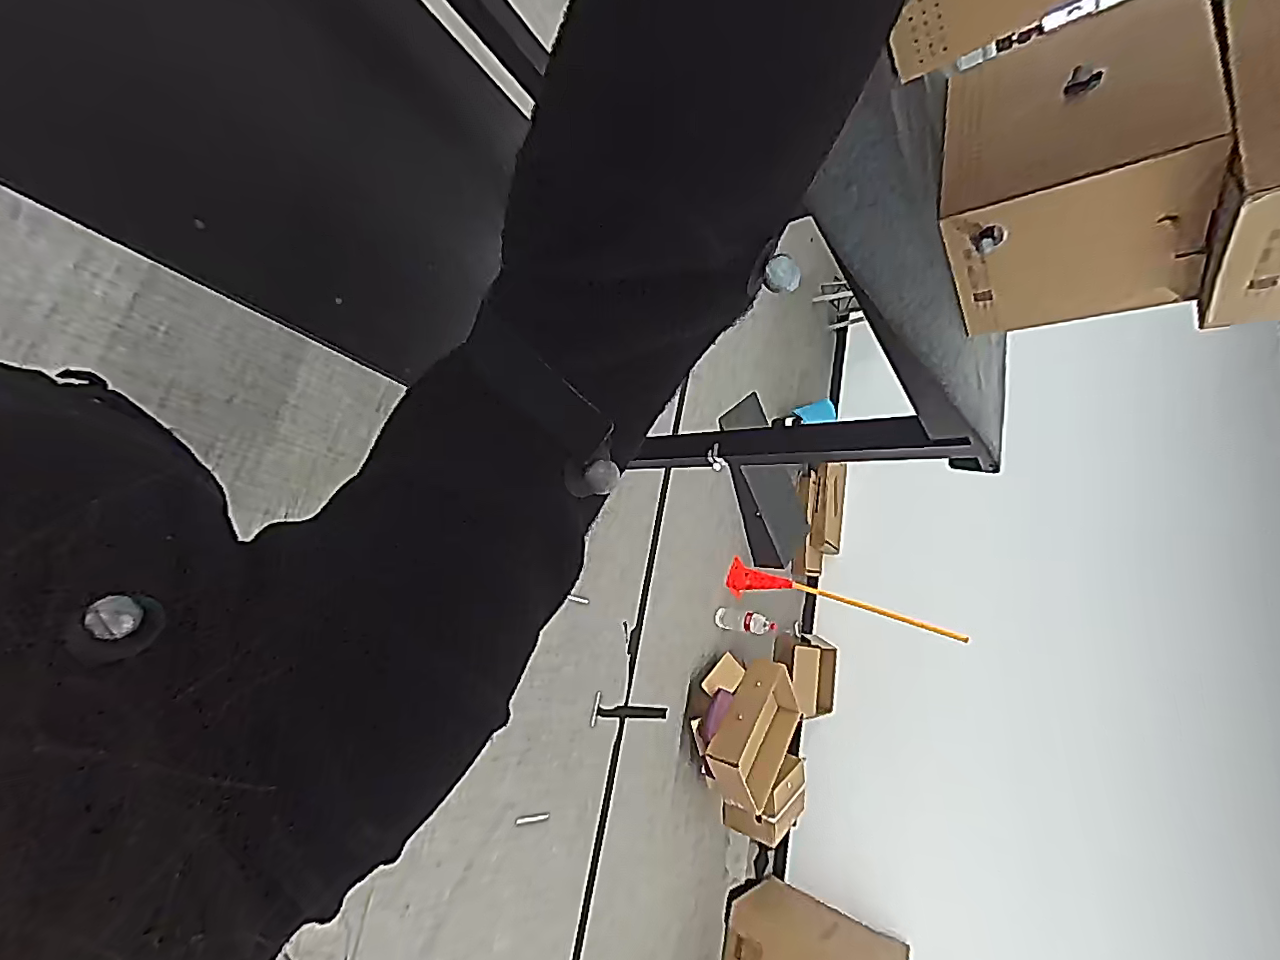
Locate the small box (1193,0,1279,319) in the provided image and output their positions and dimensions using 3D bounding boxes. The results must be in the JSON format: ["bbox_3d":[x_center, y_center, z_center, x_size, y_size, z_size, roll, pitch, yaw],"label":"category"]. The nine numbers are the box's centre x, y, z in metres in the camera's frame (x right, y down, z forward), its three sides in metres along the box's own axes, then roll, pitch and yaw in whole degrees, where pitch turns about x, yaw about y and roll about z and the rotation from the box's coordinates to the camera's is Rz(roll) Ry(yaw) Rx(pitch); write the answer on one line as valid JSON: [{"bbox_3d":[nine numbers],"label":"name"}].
[{"bbox_3d":[0.493,-0.233,0.363,0.168,0.176,0.179,26,68,-49],"label":"small box"}]

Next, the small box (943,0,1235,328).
[{"bbox_3d":[0.372,-0.259,0.472,0.168,0.176,0.179,34,61,-46],"label":"small box"}]

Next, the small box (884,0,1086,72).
[{"bbox_3d":[0.197,-0.354,0.250,0.168,0.176,0.179,31,64,-47],"label":"small box"}]
